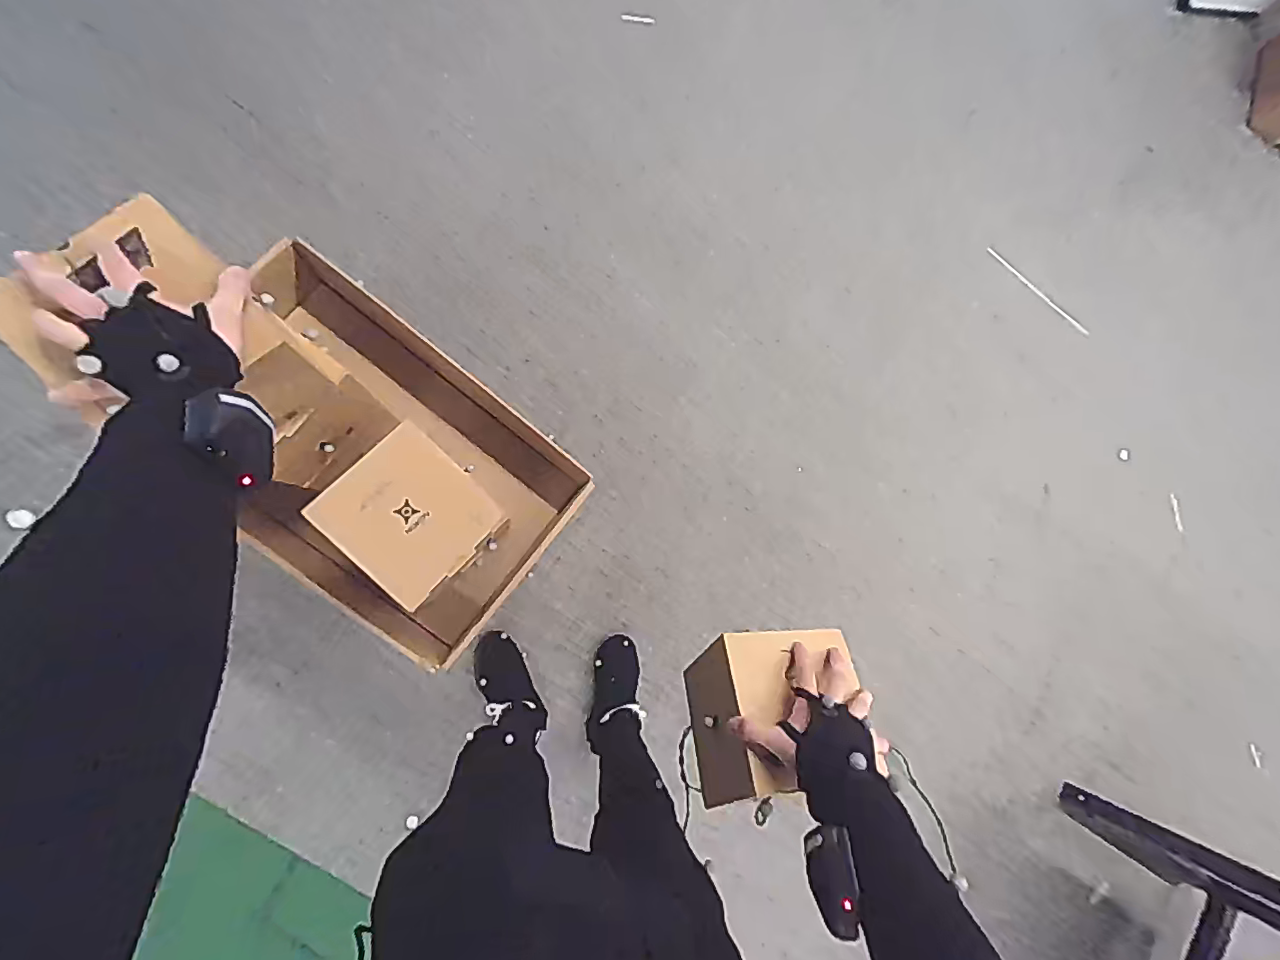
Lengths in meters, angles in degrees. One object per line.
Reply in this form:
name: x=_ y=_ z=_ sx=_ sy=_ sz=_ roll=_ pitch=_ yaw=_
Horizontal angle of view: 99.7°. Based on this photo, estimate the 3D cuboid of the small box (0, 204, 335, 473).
small box: x=-0.457 y=-0.125 z=0.550 sx=0.168 sy=0.176 sz=0.179 roll=-43 pitch=96 yaw=-14

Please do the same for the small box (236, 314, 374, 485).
small box: x=-0.489 y=-0.108 z=0.710 sx=0.179 sy=0.176 sz=0.168 roll=39 pitch=76 yaw=-7

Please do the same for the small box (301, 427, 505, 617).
small box: x=-0.300 y=0.057 z=0.733 sx=0.179 sy=0.176 sz=0.168 roll=46 pitch=76 yaw=-4

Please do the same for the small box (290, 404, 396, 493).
small box: x=-0.528 y=-0.092 z=0.866 sx=0.179 sy=0.176 sz=0.168 roll=40 pitch=77 yaw=-7
